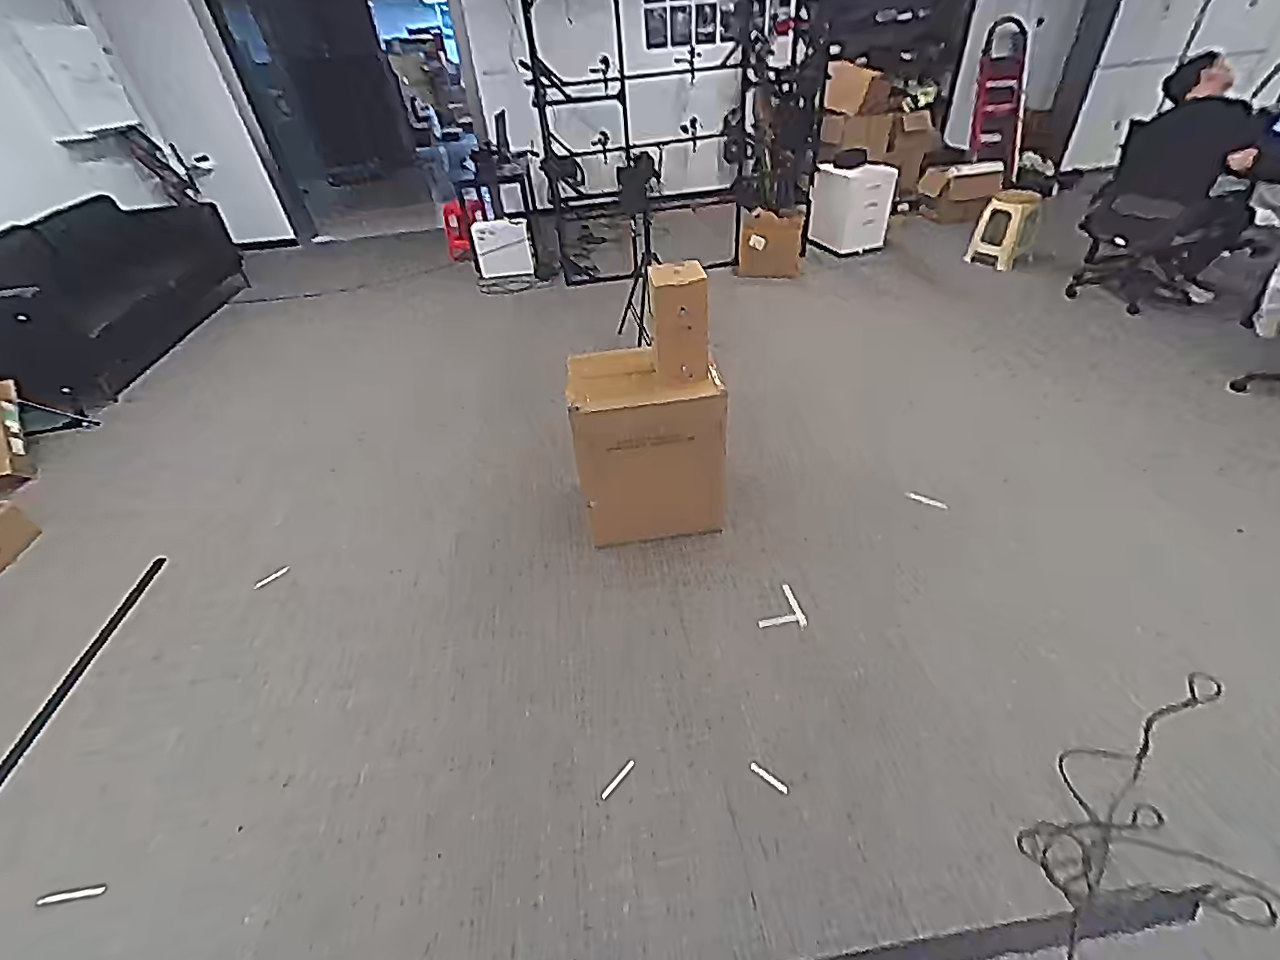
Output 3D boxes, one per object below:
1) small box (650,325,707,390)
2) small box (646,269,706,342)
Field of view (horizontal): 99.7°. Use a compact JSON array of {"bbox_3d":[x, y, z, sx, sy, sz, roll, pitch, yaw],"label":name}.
[{"bbox_3d":[0.127,-0.423,1.830,0.168,0.176,0.179,-9,40,-2],"label":"small box"},{"bbox_3d":[0.117,-0.553,1.730,0.168,0.176,0.179,-8,40,-1],"label":"small box"}]
